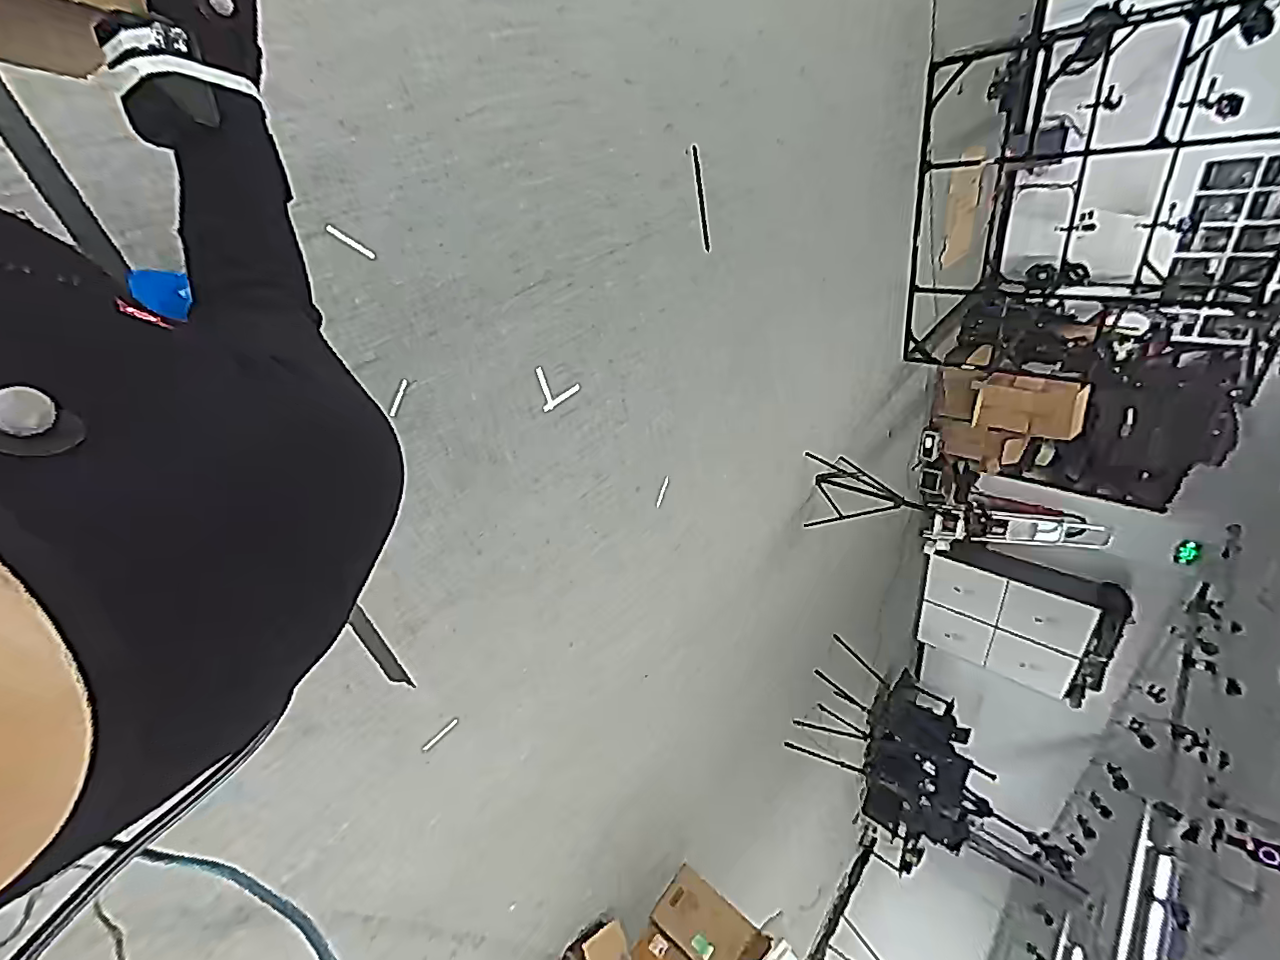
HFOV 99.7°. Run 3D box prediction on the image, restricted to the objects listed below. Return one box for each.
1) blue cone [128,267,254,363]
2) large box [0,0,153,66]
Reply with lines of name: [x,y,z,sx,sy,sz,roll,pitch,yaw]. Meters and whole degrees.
blue cone: [-0.818,-0.305,1.042,0.193,0.380,0.192,-17,118,-45]
large box: [-0.569,-0.466,0.264,0.408,0.320,0.320,-20,123,-48]
